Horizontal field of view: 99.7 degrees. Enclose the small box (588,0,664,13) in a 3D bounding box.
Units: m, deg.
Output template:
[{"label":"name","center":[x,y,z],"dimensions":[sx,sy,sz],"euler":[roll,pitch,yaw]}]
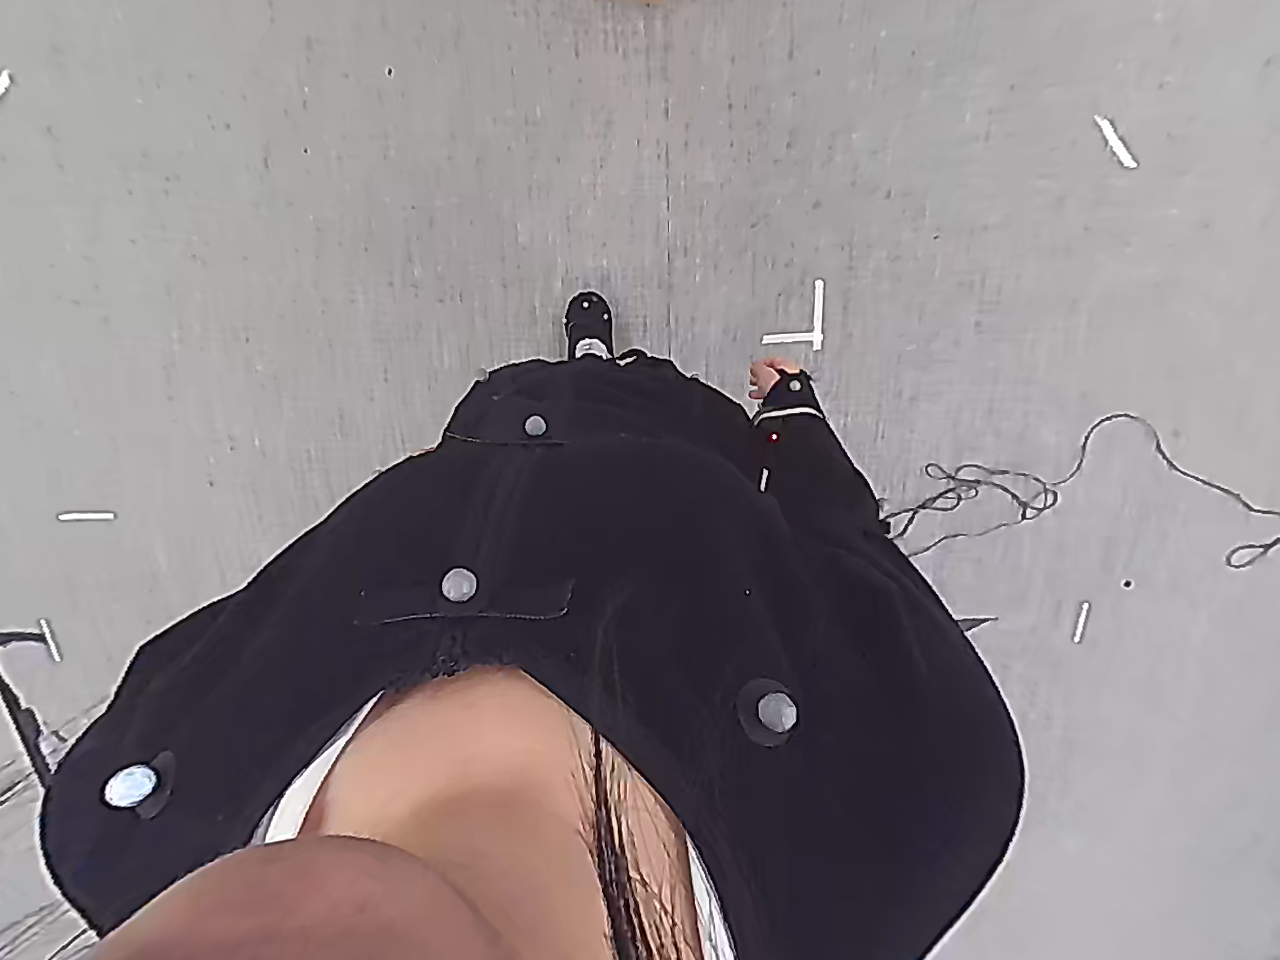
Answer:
[{"label":"small box","center":[-0.022,-1.109,1.115],"dimensions":[0.179,0.176,0.168],"euler":[5,106,-3]}]
